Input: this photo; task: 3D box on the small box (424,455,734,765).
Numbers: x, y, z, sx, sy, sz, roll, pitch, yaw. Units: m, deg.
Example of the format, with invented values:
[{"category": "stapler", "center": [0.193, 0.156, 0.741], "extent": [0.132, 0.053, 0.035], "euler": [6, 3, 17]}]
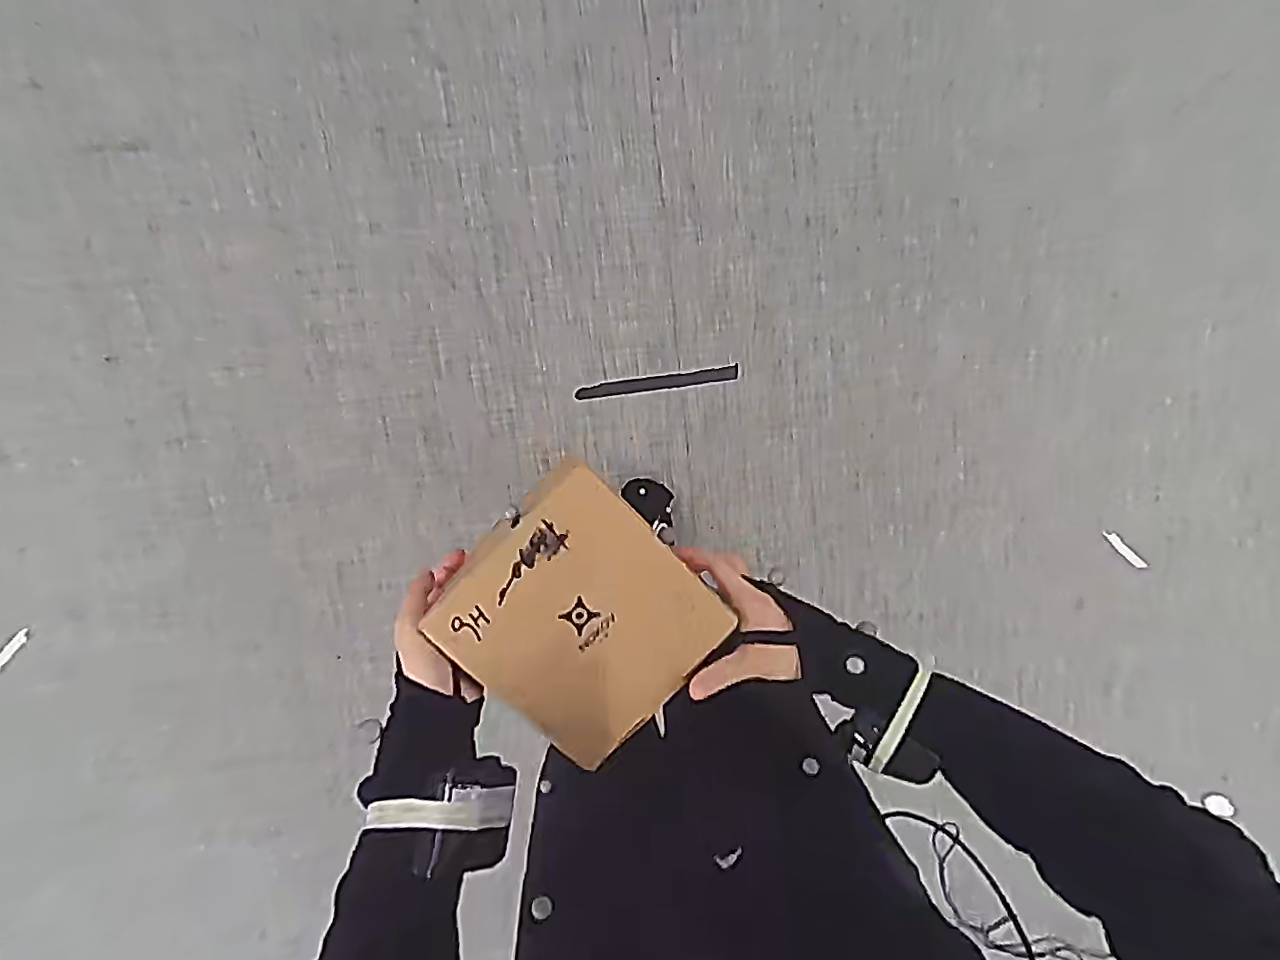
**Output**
[{"category": "small box", "center": [-0.053, 0.095, 0.480], "extent": [0.168, 0.176, 0.179], "euler": [-43, 104, -2]}]
